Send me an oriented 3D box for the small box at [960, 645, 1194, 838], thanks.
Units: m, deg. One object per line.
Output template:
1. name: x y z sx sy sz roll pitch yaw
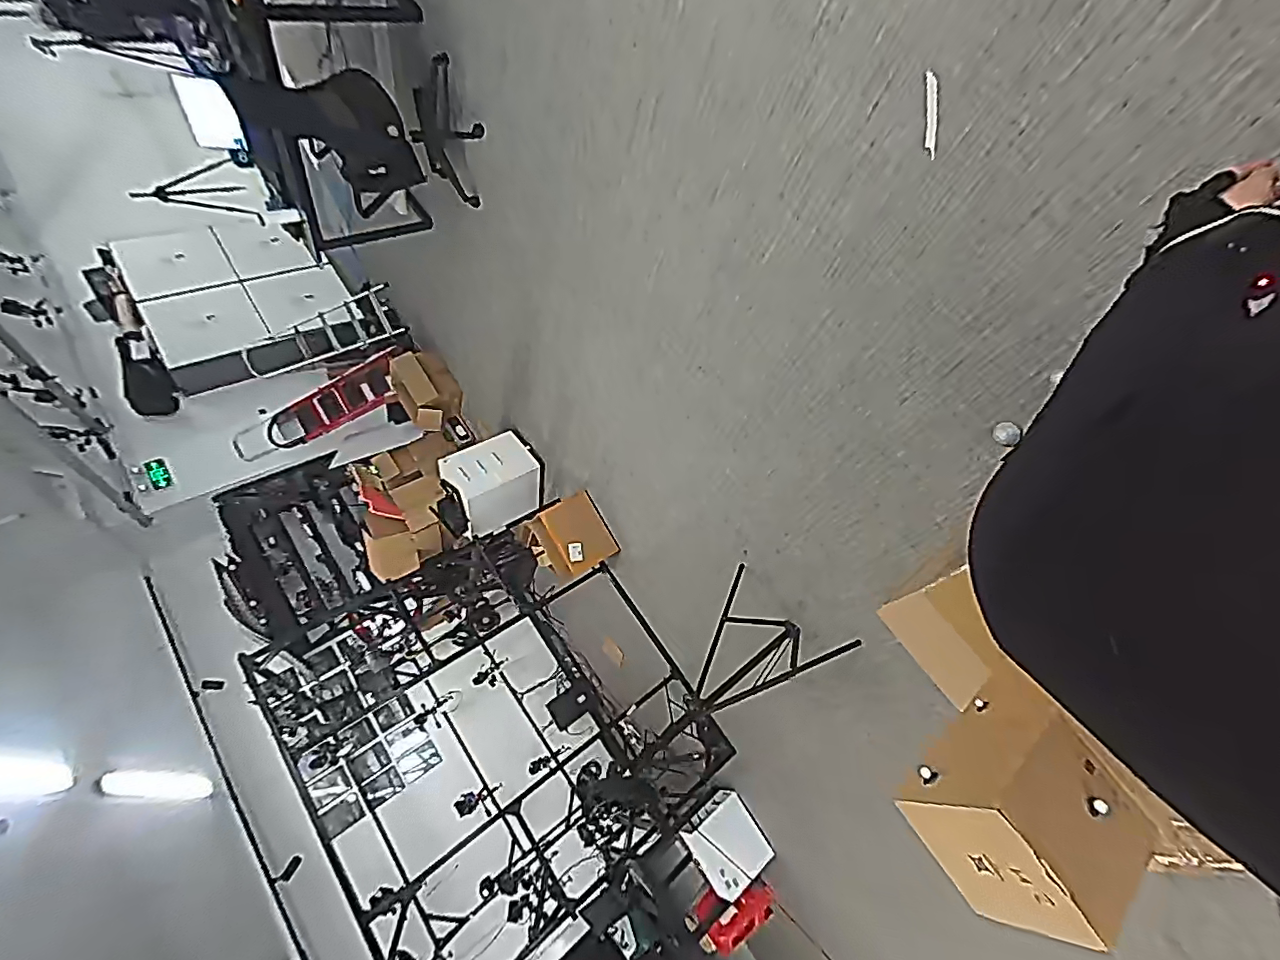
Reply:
1. small box: 0.599 0.351 0.745 0.168 0.176 0.179 53 150 14

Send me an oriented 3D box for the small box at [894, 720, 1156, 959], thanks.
1. small box: 0.470 0.422 0.670 0.168 0.176 0.179 54 150 12
